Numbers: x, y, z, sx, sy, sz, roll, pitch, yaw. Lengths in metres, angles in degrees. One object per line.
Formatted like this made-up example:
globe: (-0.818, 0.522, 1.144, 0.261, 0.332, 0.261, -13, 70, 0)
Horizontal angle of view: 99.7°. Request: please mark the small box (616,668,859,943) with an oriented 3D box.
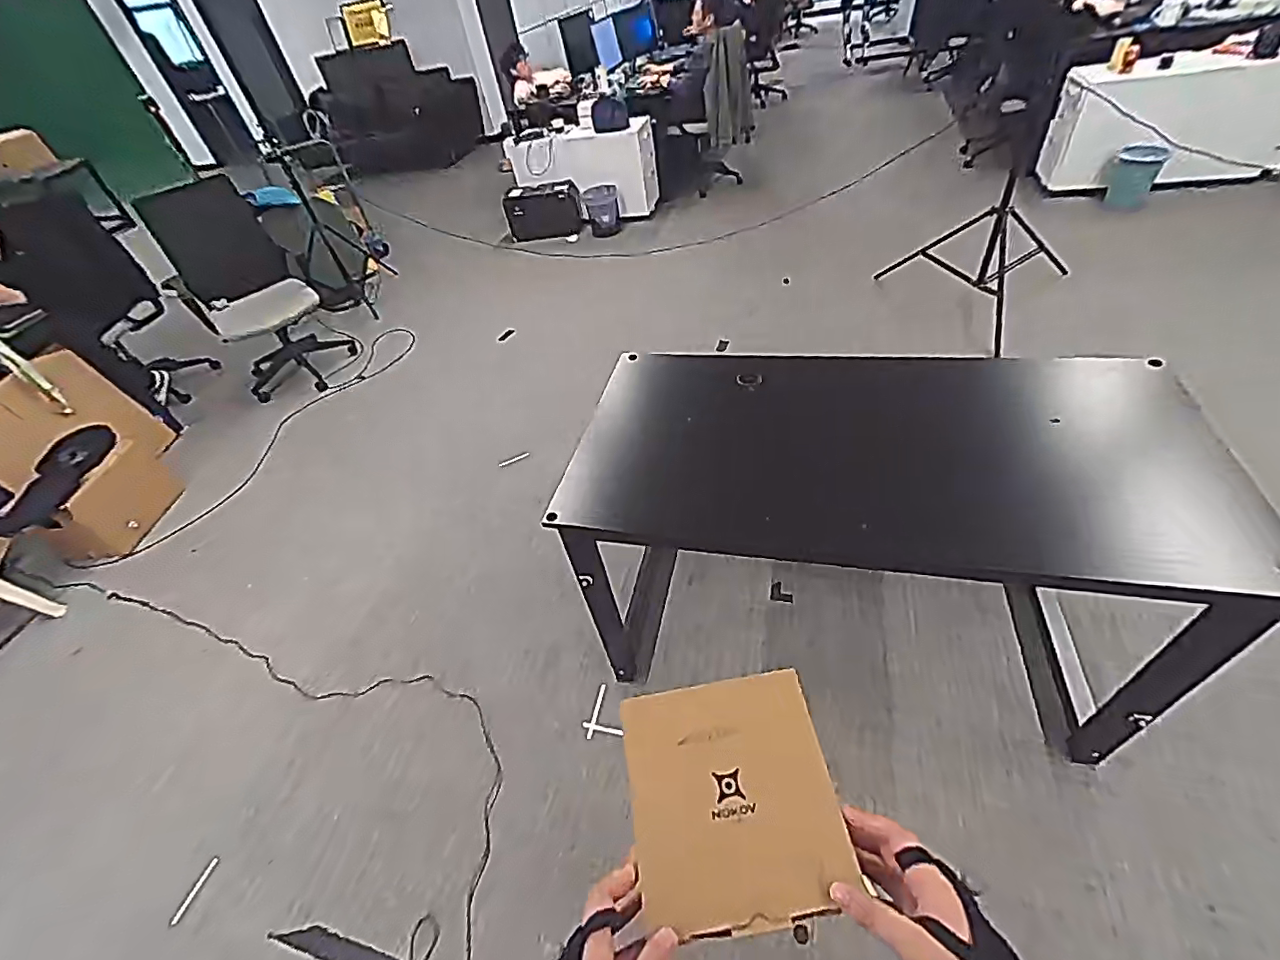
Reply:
small box: (0.078, 0.302, 0.504, 0.168, 0.176, 0.179, -10, 49, -2)
